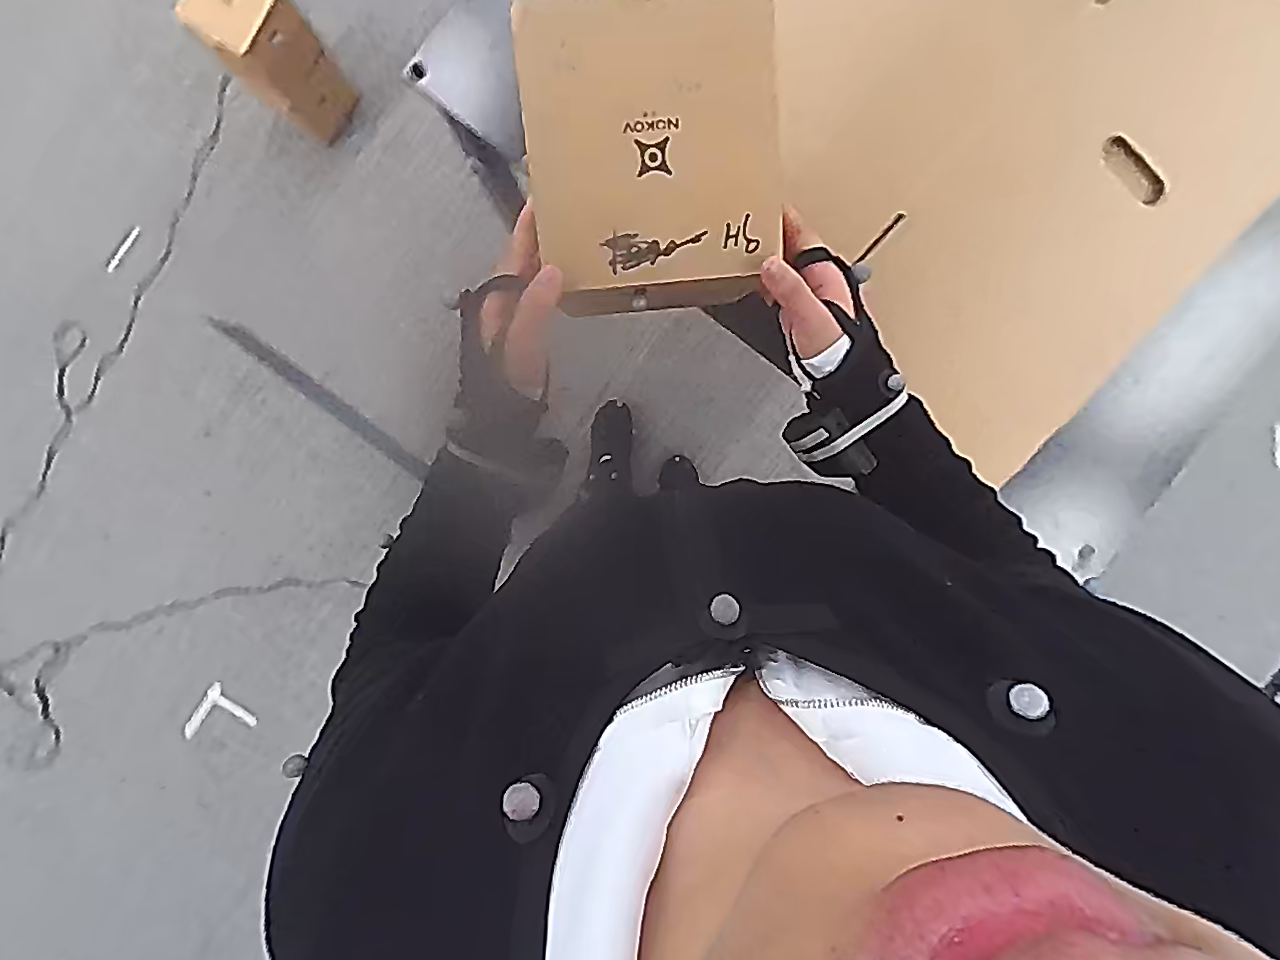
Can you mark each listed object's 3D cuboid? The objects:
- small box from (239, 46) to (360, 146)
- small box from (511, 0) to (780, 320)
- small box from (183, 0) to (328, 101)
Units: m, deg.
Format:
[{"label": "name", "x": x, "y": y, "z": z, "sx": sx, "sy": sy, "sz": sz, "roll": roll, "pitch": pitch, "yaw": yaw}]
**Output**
[{"label": "small box", "x": -0.848, "y": -1.006, "z": 1.371, "sx": 0.168, "sy": 0.176, "sz": 0.179, "roll": 34, "pitch": 92, "yaw": -2}, {"label": "small box", "x": 0.004, "y": -0.234, "z": 0.432, "sx": 0.168, "sy": 0.176, "sz": 0.179, "roll": -6, "pitch": 101, "yaw": 0}, {"label": "small box", "x": -0.844, "y": -1.006, "z": 1.208, "sx": 0.168, "sy": 0.176, "sz": 0.179, "roll": 30, "pitch": 90, "yaw": -2}]
